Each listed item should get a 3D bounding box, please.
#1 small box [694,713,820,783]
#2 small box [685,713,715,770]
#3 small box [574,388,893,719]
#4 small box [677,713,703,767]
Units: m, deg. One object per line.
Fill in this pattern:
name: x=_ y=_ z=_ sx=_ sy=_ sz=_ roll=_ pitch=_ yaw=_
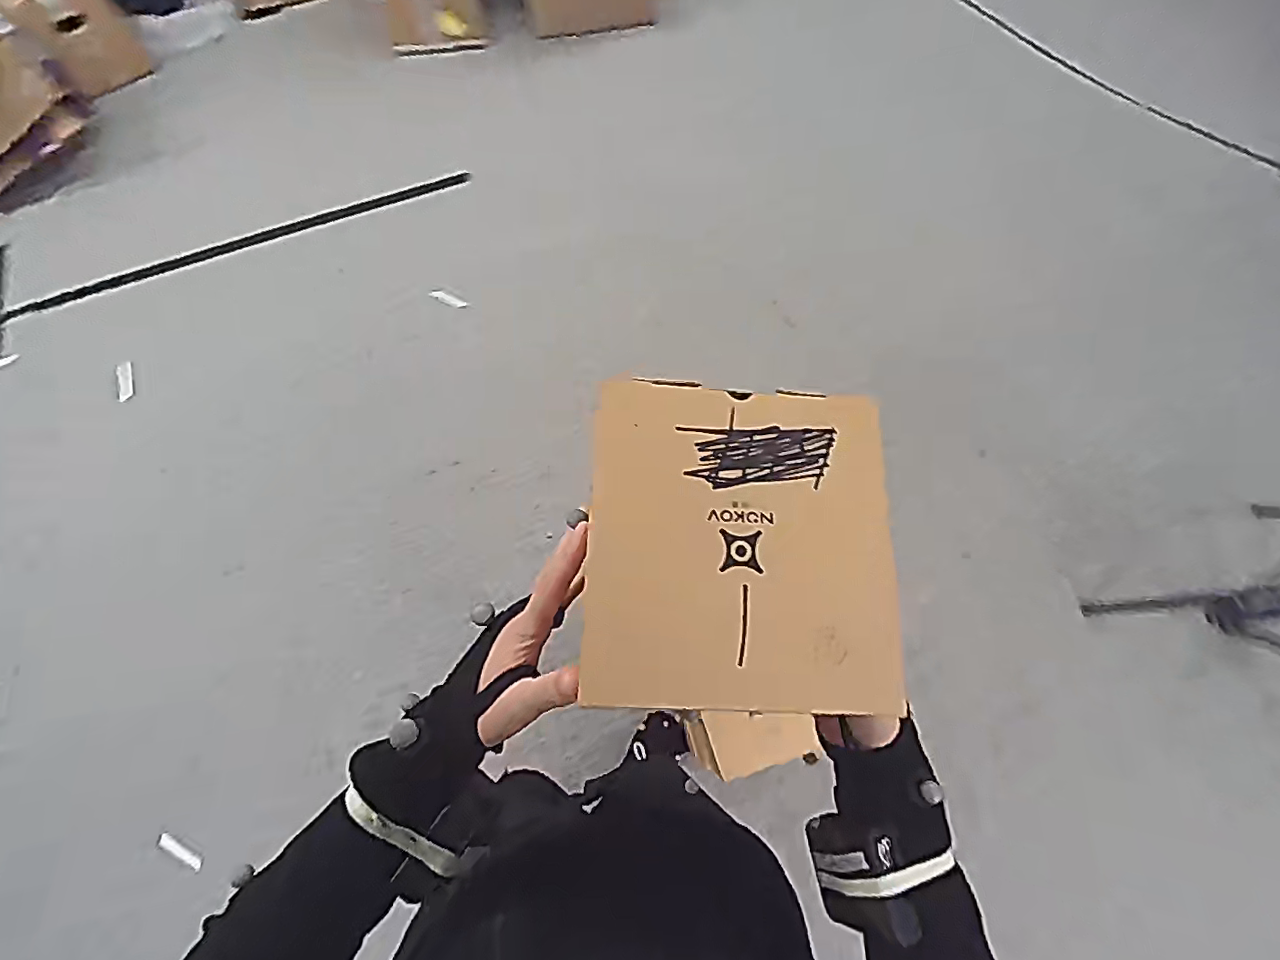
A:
small box: x=0.181 y=0.398 z=0.939 sx=0.168 sy=0.176 sz=0.179 roll=-17 pitch=68 yaw=-5
small box: x=0.177 y=0.463 z=1.087 sx=0.168 sy=0.176 sz=0.179 roll=-14 pitch=68 yaw=-4
small box: x=0.042 y=0.058 z=0.369 sx=0.168 sy=0.176 sz=0.179 roll=3 pitch=73 yaw=-5
small box: x=0.173 y=0.530 z=1.238 sx=0.168 sy=0.176 sz=0.179 roll=-16 pitch=68 yaw=-6
